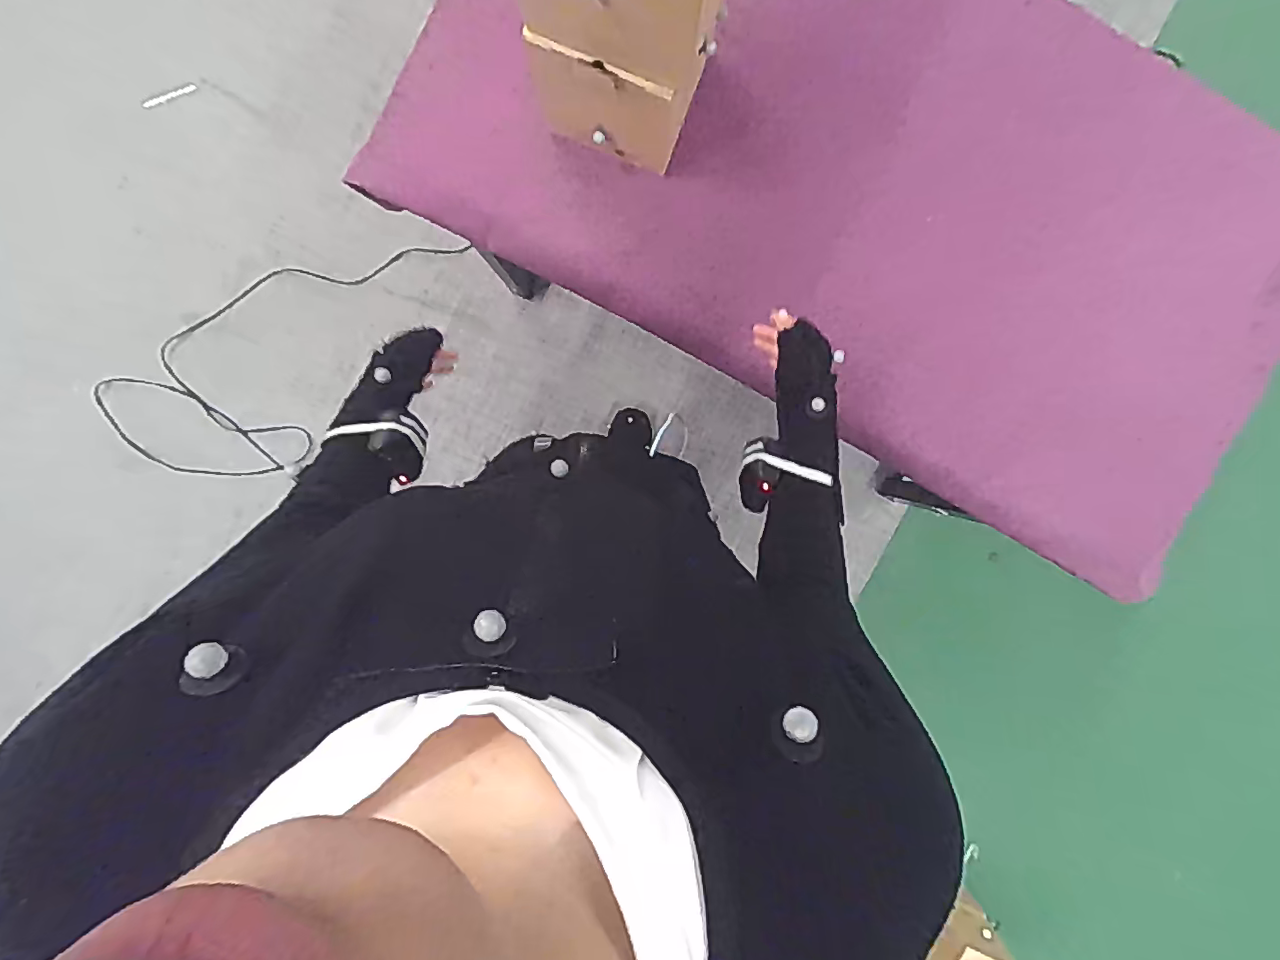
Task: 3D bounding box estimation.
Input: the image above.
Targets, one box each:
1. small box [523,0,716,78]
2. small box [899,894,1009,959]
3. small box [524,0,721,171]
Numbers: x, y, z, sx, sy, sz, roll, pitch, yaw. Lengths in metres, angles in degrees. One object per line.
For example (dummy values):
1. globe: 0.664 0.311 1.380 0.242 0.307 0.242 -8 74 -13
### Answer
1. small box: -0.002 -0.489 0.451 0.179 0.176 0.168 24 92 -3
2. small box: 0.776 1.182 1.329 0.168 0.176 0.179 27 95 -2
3. small box: -0.013 -0.502 0.618 0.168 0.176 0.179 22 94 -2
